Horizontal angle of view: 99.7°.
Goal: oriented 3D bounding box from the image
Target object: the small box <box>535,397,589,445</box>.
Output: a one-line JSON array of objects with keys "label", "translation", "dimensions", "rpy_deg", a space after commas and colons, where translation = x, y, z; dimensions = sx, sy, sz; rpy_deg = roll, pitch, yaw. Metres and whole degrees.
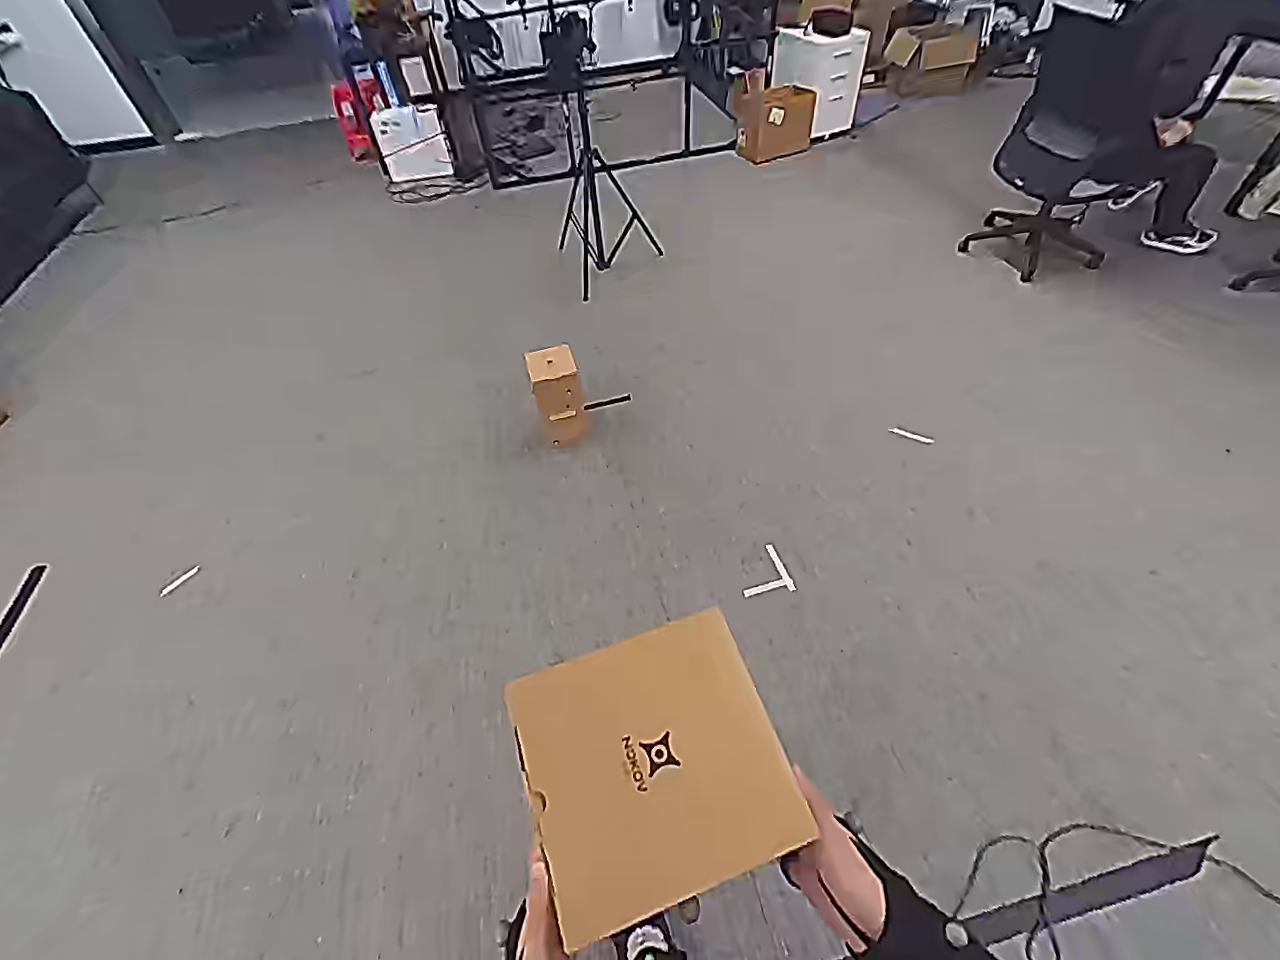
[{"label": "small box", "translation": [-0.303, -0.254, 2.104], "dimensions": [0.168, 0.176, 0.179], "rpy_deg": [-15, 49, -8]}]

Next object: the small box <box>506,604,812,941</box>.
[{"label": "small box", "translation": [0.007, 0.227, 0.448], "dimensions": [0.179, 0.176, 0.168], "rpy_deg": [-18, 62, -9]}]

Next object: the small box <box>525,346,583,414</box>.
[{"label": "small box", "translation": [-0.312, -0.360, 1.981], "dimensions": [0.168, 0.176, 0.179], "rpy_deg": [-15, 49, -9]}]
